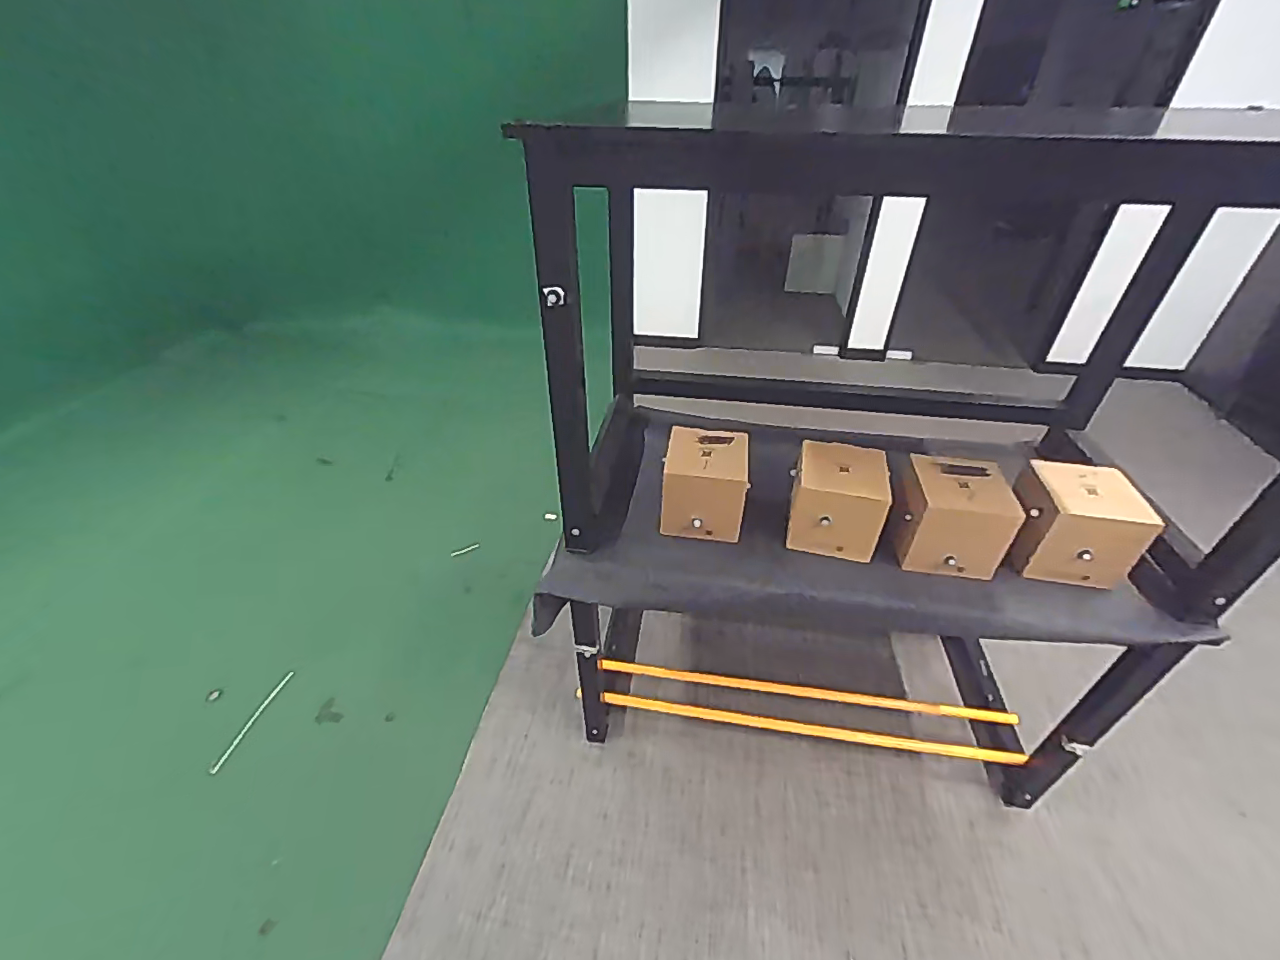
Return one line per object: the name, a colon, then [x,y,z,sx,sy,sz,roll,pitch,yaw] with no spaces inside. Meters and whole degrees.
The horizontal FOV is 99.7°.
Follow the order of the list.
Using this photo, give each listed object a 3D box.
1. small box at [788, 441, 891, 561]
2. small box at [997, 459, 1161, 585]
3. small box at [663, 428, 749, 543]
small box: [0.406,0.043,1.119,0.168,0.176,0.179,9,38,12]
small box: [0.841,0.083,1.059,0.168,0.176,0.179,7,37,9]
small box: [0.141,0.010,1.158,0.168,0.176,0.179,5,38,7]
